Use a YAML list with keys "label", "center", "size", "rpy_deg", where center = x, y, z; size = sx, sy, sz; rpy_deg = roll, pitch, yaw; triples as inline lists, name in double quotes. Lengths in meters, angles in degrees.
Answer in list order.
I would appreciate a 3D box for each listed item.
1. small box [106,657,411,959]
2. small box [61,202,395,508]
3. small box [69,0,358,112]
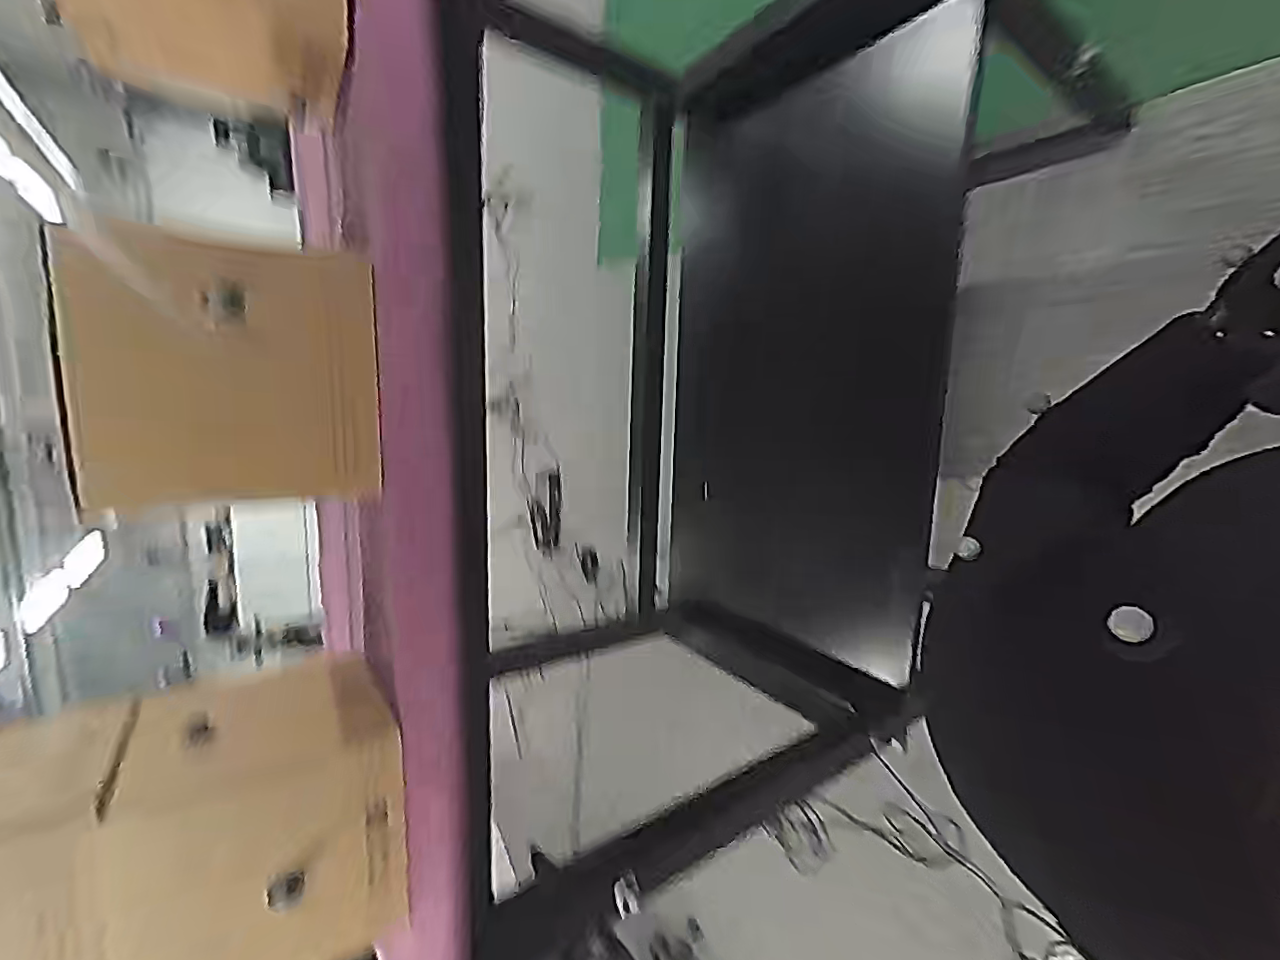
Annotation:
- label: "small box"
  center: [-0.289, 0.260, 0.433]
  size: [0.179, 0.176, 0.168]
  rpy_deg: [8, 98, 54]
- label: "small box"
  center: [-0.298, -0.082, 0.418]
  size: [0.168, 0.176, 0.179]
  rpy_deg: [9, 102, 55]
- label: "small box"
  center: [-0.310, -0.404, 0.396]
  size: [0.168, 0.176, 0.179]
  rpy_deg: [15, 106, 55]
